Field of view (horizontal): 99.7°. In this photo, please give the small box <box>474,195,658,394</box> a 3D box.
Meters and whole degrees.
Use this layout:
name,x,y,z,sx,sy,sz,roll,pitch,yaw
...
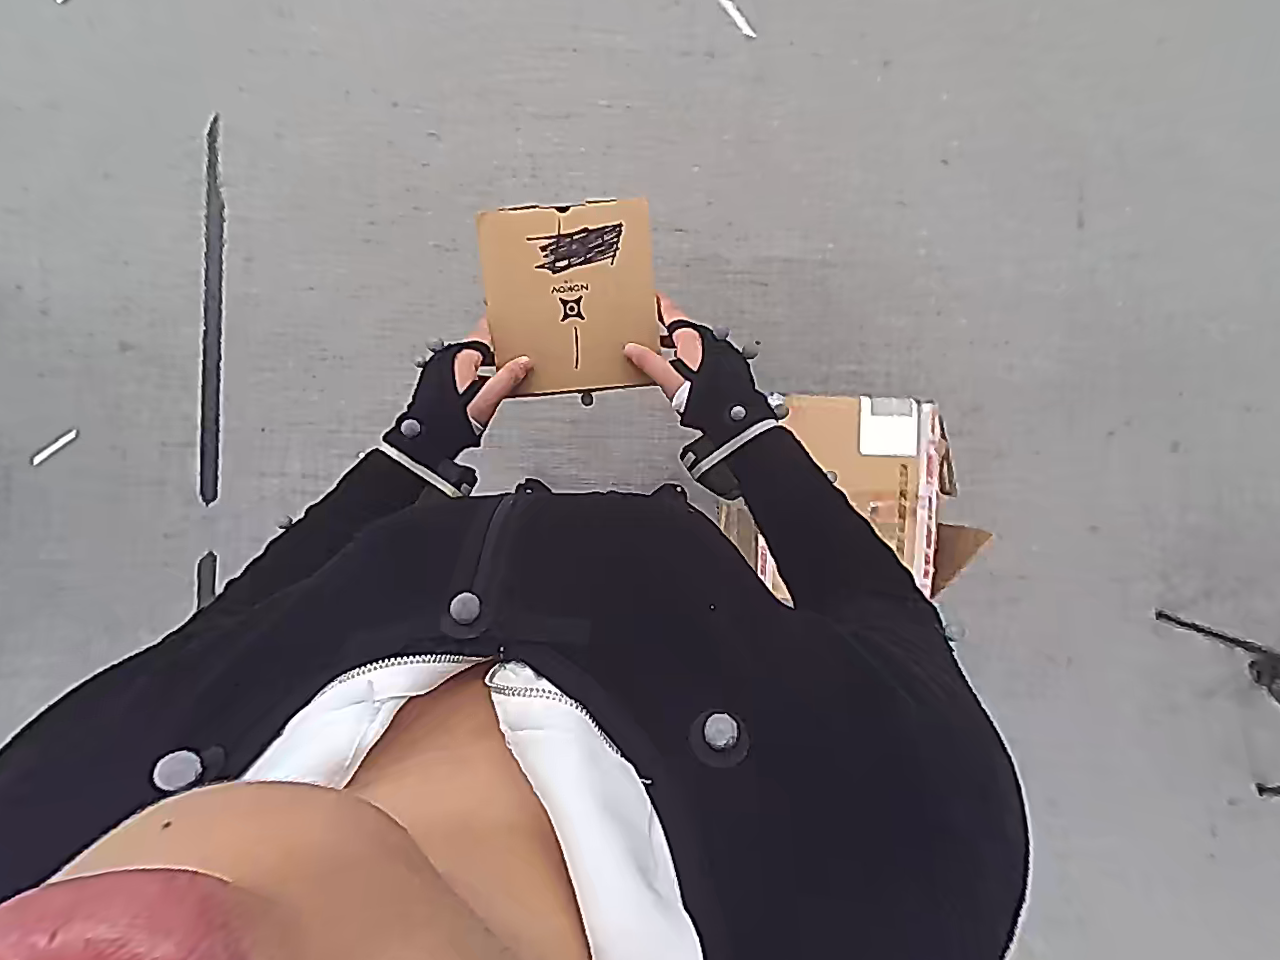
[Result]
name,x,y,z,sx,sy,sz,roll,pitch,yaw
small box,-0.071,-0.190,0.602,0.168,0.176,0.179,-5,99,1
